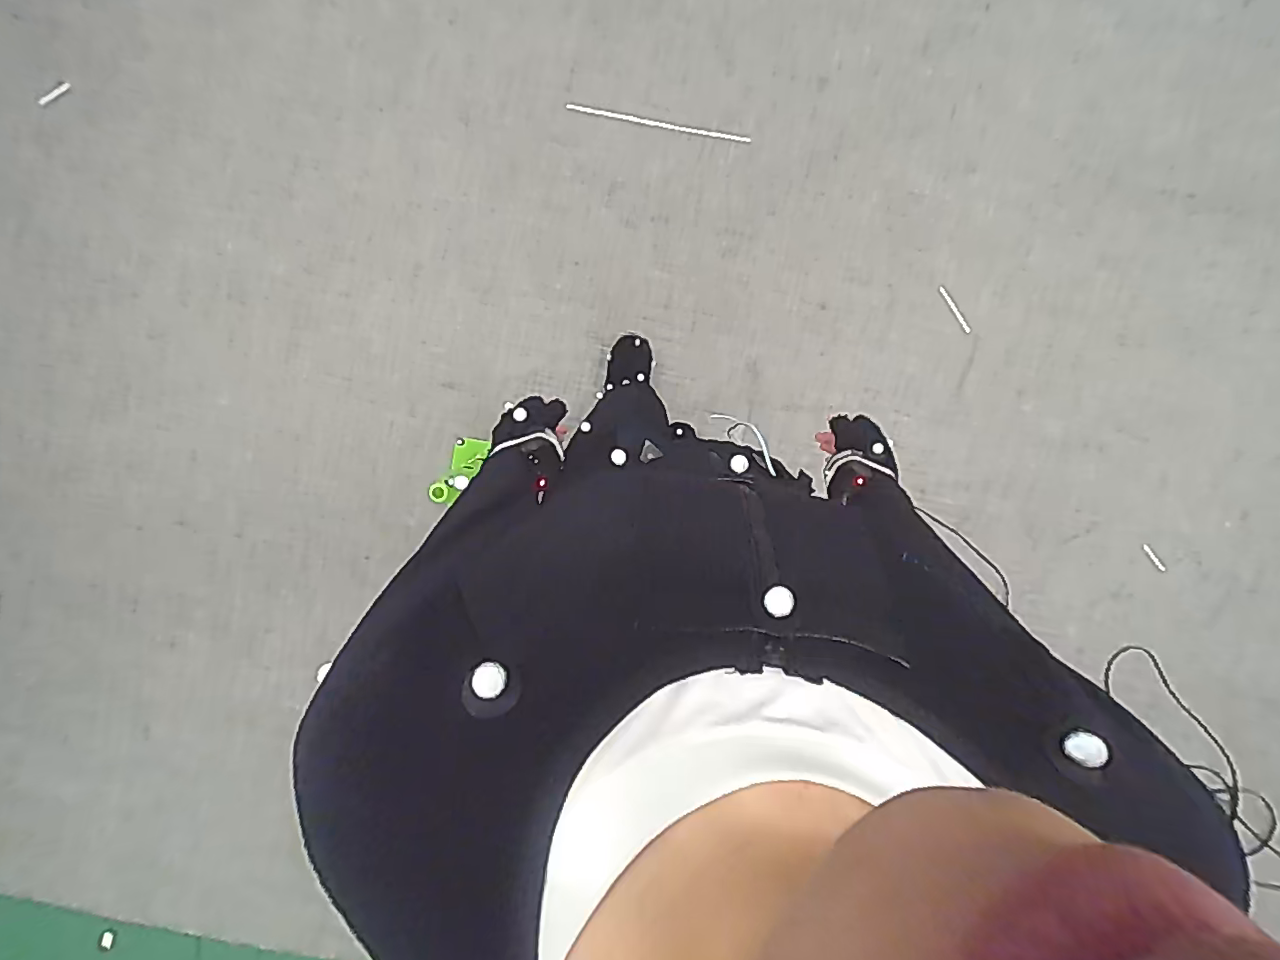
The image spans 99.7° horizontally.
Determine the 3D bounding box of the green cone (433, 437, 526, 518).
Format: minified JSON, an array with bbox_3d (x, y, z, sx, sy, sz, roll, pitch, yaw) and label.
[{"bbox_3d":[-0.418,0.013,1.301,0.202,0.368,0.200,9,96,-2],"label":"green cone"}]
